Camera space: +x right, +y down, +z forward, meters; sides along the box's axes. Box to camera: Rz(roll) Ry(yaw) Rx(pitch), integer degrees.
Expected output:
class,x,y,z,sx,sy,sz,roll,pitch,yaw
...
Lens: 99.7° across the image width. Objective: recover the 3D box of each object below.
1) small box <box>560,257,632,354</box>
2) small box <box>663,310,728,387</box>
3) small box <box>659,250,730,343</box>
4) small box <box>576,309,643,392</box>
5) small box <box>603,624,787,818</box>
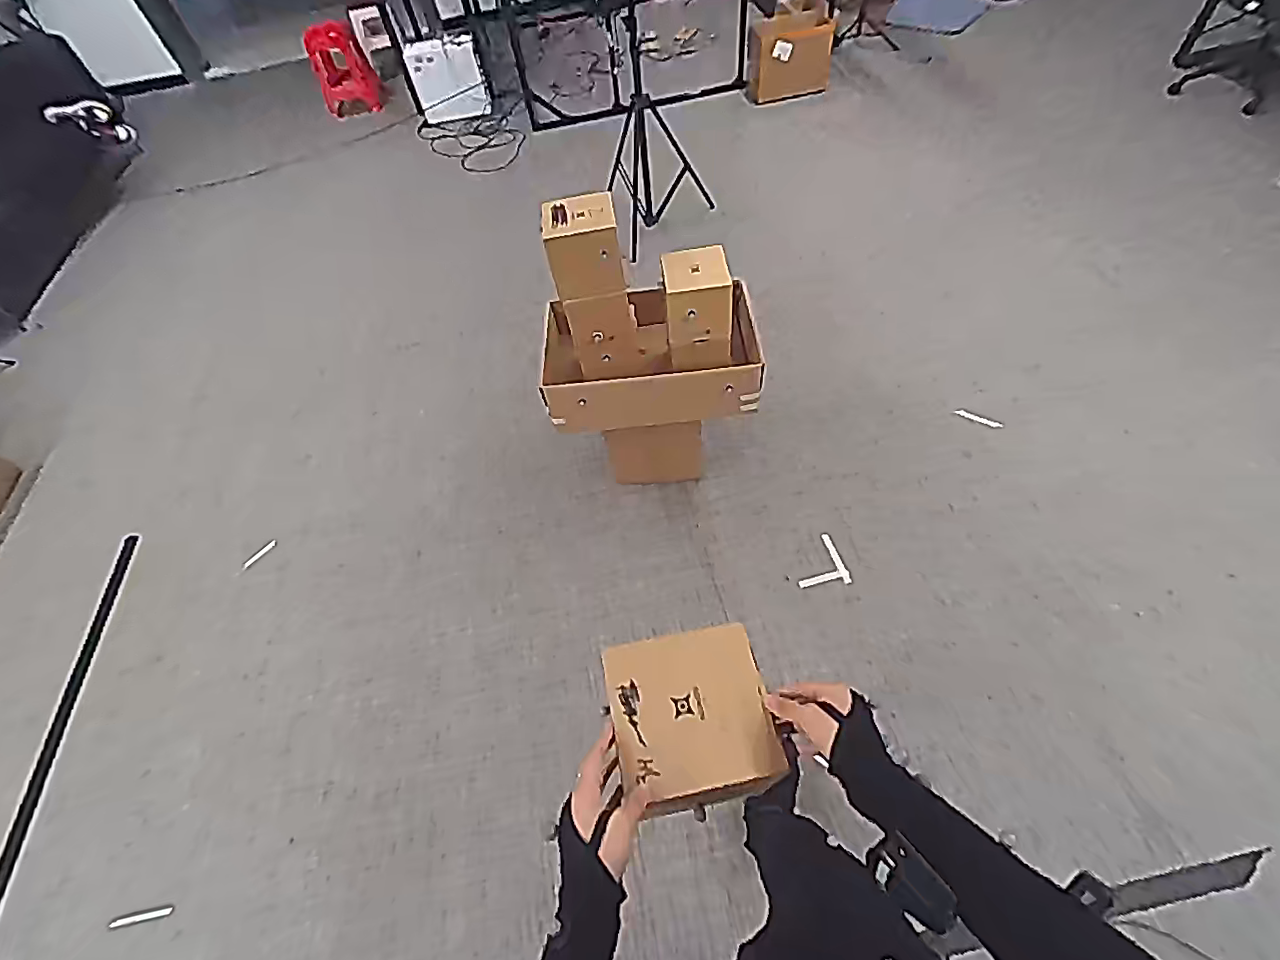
class,x,y,z,sx,sy,sz,roll,pitch,yaw
small box,-0.118,-0.473,1.473,0.168,0.176,0.179,-10,54,1
small box,0.163,-0.388,1.578,0.168,0.176,0.179,-8,54,2
small box,0.147,-0.482,1.446,0.168,0.176,0.179,-7,54,2
small box,-0.091,-0.380,1.605,0.179,0.176,0.168,-8,55,1
small box,0.051,0.294,0.657,0.179,0.176,0.168,-8,53,-8
